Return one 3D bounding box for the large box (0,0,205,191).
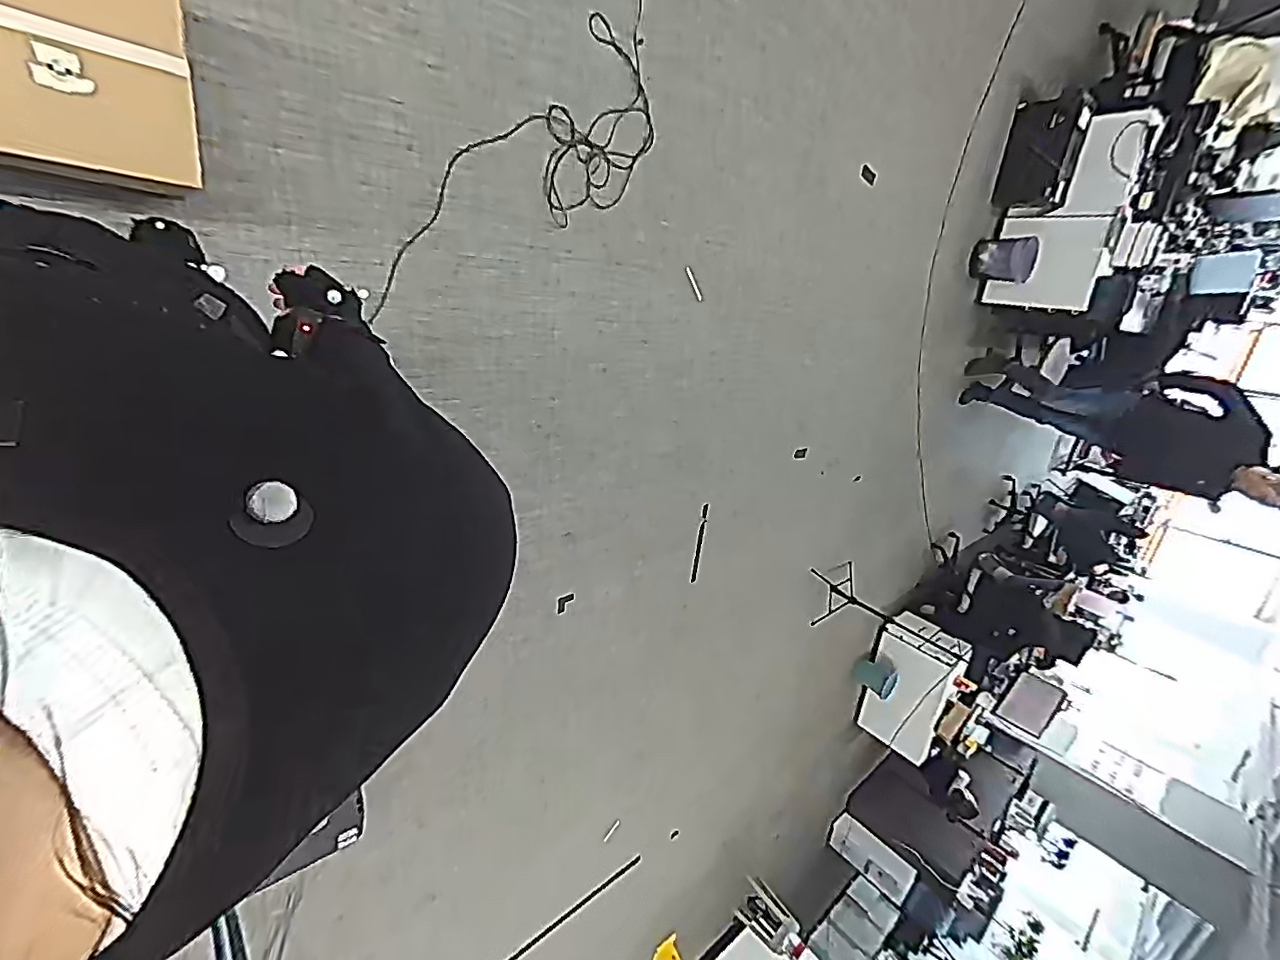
[{"bbox_3d":[-0.904,-0.629,0.766,0.408,0.320,0.320,-9,115,-41],"label":"large box"}]

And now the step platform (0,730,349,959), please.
[{"bbox_3d":[-1.124,0.933,1.365,0.684,0.204,0.286,-12,116,-37],"label":"step platform"}]
